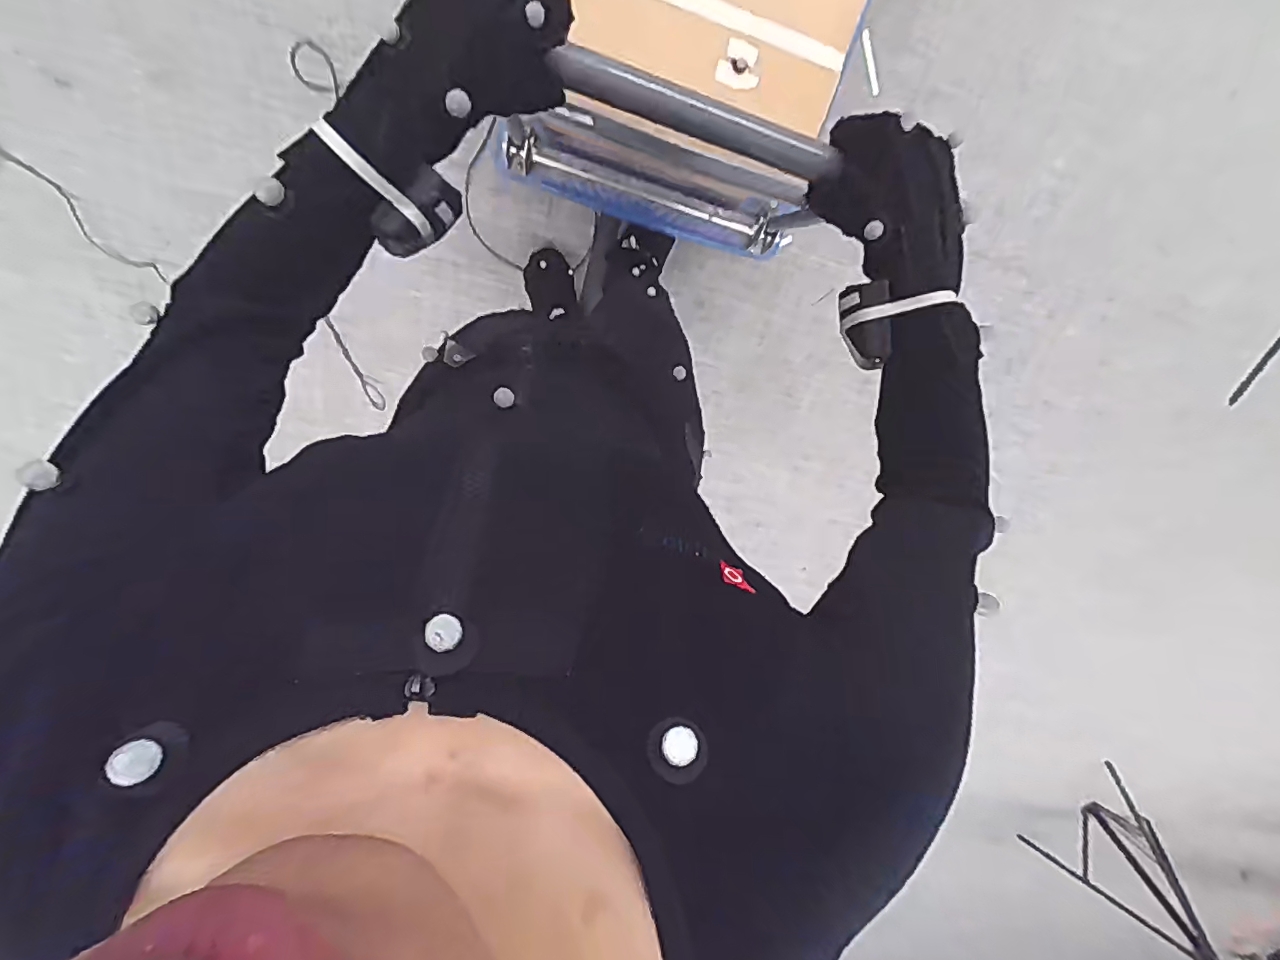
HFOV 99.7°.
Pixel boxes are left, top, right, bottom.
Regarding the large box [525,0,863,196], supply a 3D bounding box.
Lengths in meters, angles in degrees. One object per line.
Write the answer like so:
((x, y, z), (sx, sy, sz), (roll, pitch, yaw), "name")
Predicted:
((0.064, -0.661, 0.819), (0.408, 0.320, 0.320), (13, 114, -12), "large box")
